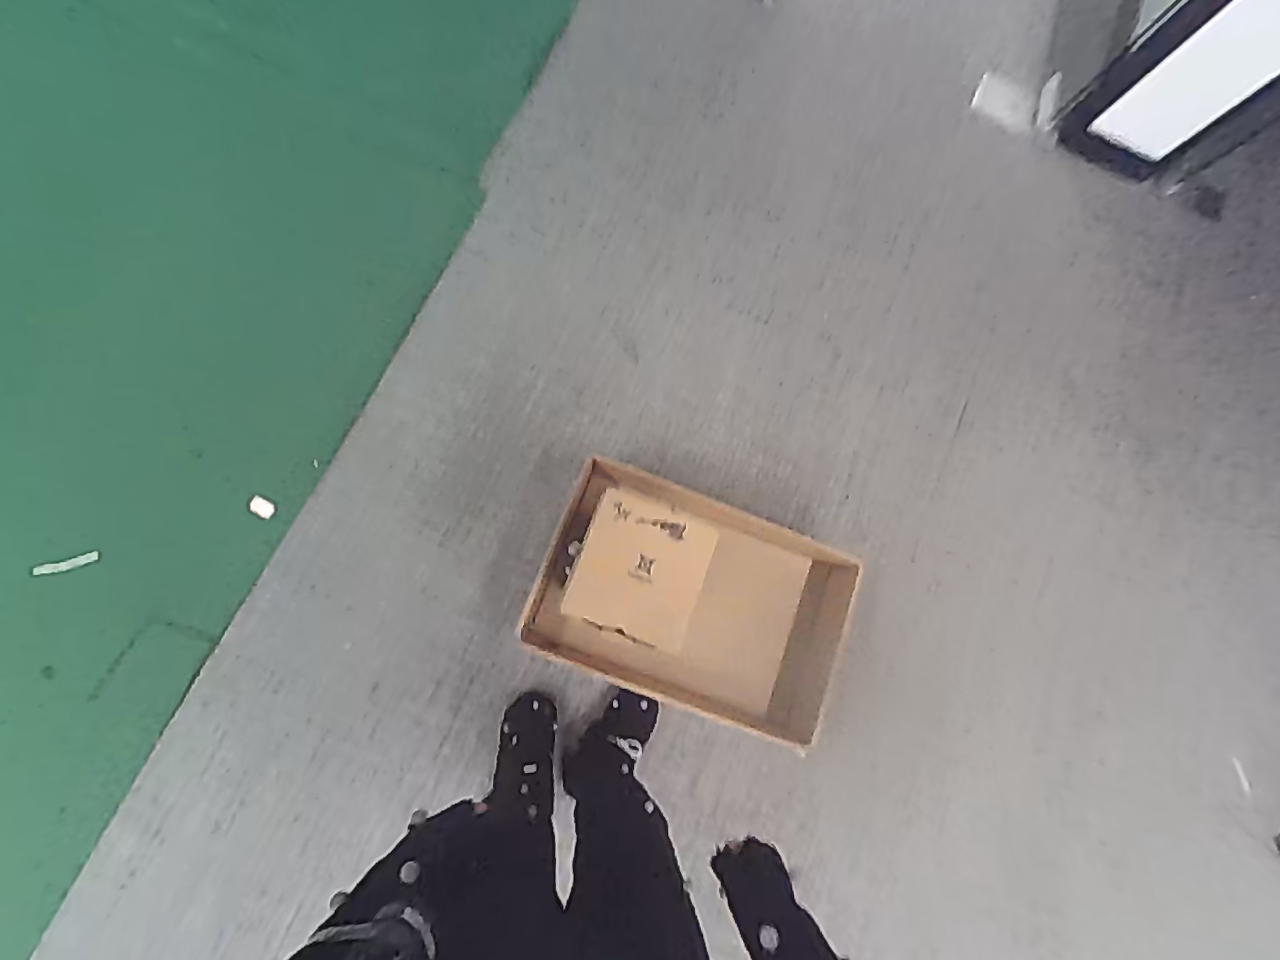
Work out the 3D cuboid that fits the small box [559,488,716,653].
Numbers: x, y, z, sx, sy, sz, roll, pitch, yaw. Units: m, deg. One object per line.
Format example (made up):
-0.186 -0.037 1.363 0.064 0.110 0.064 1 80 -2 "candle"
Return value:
-0.008 0.131 0.797 0.168 0.176 0.179 21 79 -4 "small box"
